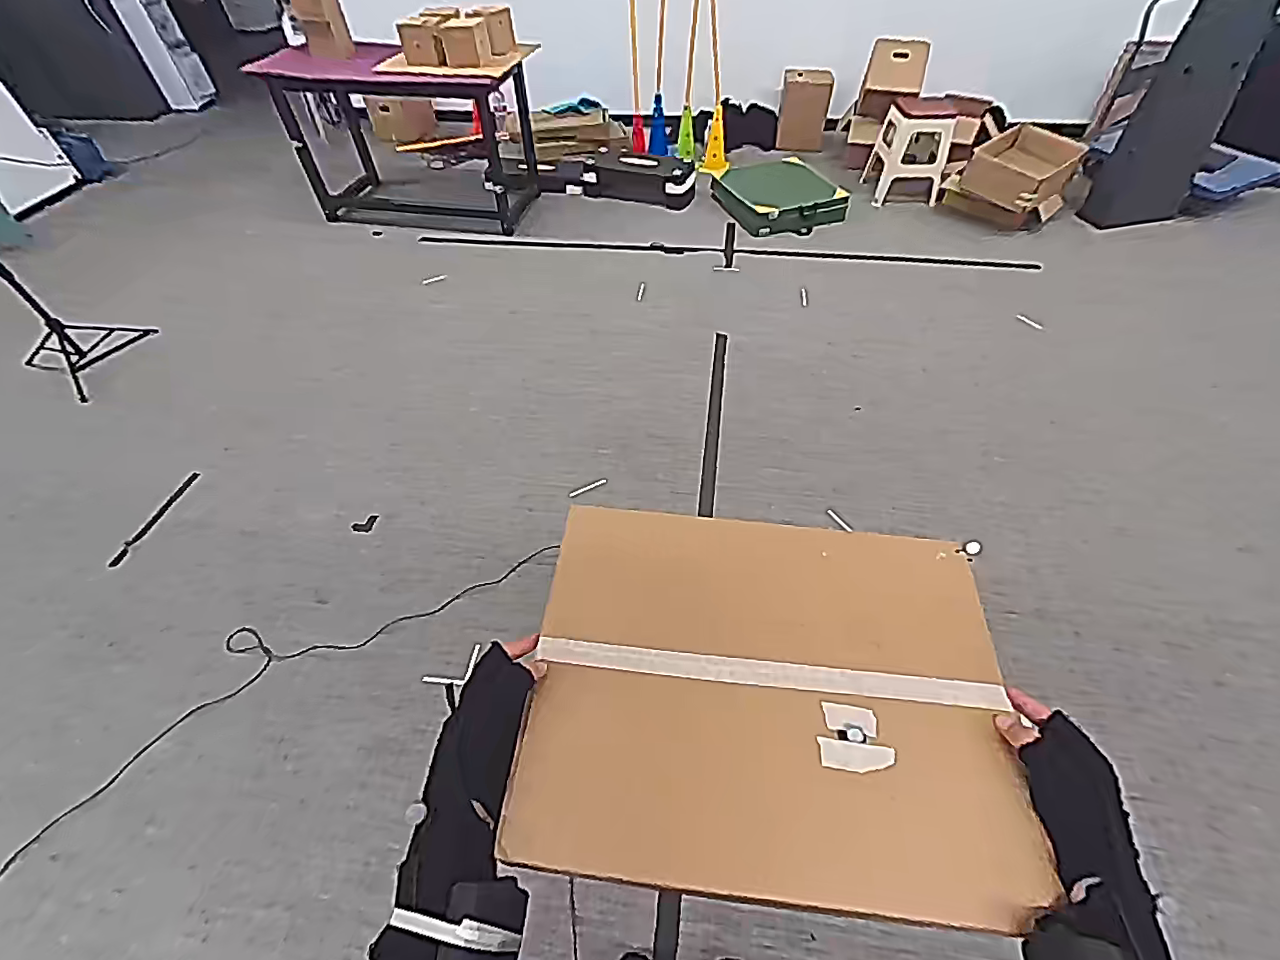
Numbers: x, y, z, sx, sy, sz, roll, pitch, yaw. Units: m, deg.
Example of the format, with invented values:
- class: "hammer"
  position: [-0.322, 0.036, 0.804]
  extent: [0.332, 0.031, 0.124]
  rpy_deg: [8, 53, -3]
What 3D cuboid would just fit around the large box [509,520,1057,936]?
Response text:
- class: "large box"
  position: [0.110, 0.269, 0.595]
  extent: [0.408, 0.320, 0.320]
  rpy_deg: [6, 54, 3]
